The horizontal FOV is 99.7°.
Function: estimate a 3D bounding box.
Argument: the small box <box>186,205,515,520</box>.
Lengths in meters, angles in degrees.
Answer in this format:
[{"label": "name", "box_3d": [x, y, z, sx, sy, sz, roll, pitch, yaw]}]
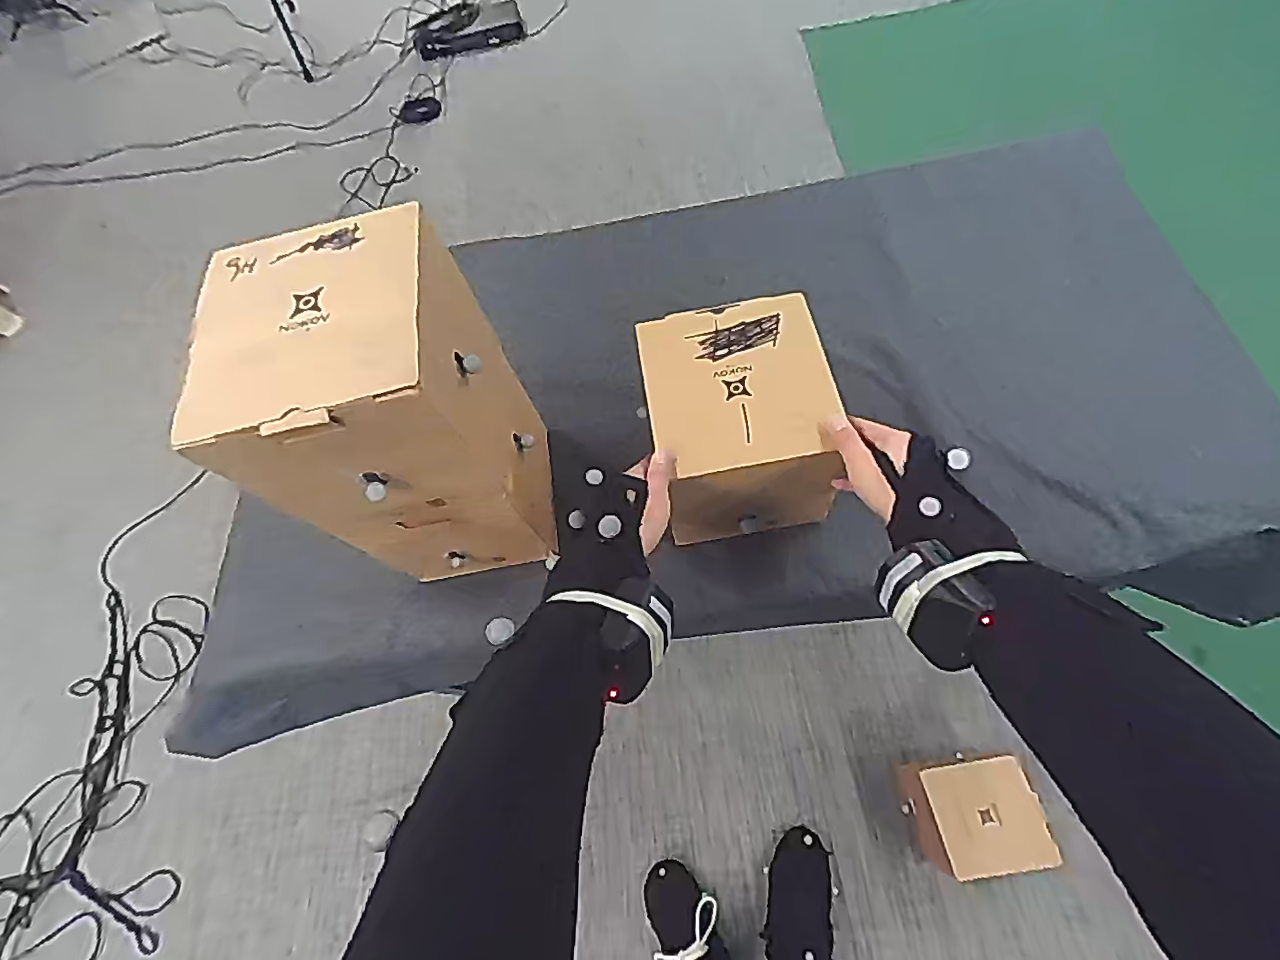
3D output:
[{"label": "small box", "box_3d": [-0.210, -0.079, 0.443, 0.168, 0.176, 0.179, -13, 64, 3]}]

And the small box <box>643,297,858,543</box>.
[{"label": "small box", "box_3d": [0.103, -0.053, 0.560, 0.168, 0.176, 0.179, -11, 63, 5]}]

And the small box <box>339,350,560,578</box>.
[{"label": "small box", "box_3d": [-0.192, -0.010, 0.590, 0.168, 0.176, 0.179, -11, 64, 3]}]

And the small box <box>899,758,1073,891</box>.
[{"label": "small box", "box_3d": [0.605, 0.609, 0.973, 0.179, 0.176, 0.168, -13, 60, -1]}]
